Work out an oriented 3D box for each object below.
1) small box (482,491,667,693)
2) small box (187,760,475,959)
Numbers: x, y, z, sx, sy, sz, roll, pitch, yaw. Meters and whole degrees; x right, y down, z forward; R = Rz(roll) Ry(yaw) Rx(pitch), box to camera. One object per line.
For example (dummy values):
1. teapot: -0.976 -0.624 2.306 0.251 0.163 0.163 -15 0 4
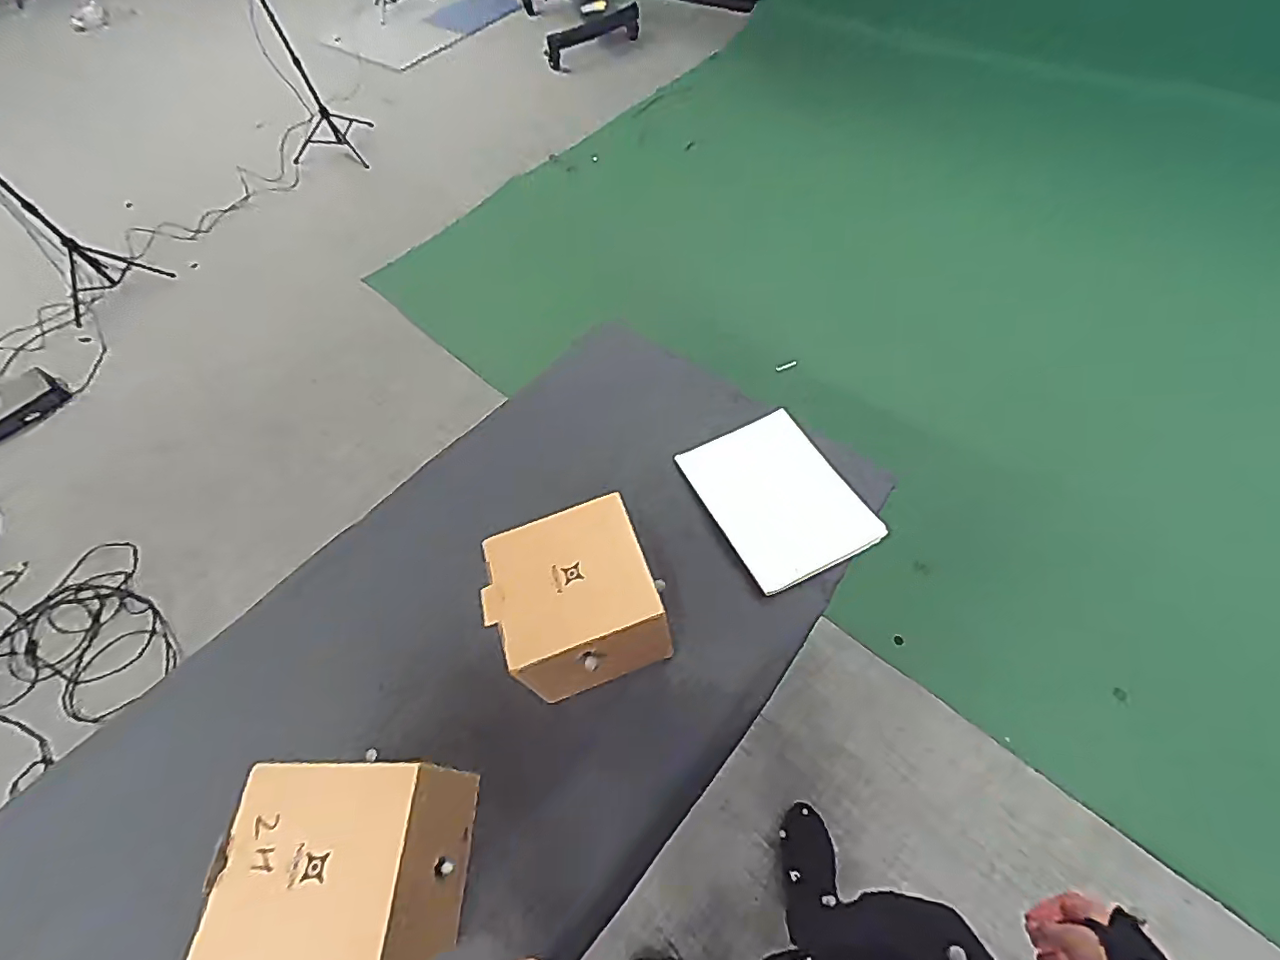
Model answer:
1. small box: -0.072 0.145 0.672 0.179 0.176 0.168 -20 58 -4
2. small box: -0.288 0.385 0.552 0.179 0.176 0.168 -3 58 6
